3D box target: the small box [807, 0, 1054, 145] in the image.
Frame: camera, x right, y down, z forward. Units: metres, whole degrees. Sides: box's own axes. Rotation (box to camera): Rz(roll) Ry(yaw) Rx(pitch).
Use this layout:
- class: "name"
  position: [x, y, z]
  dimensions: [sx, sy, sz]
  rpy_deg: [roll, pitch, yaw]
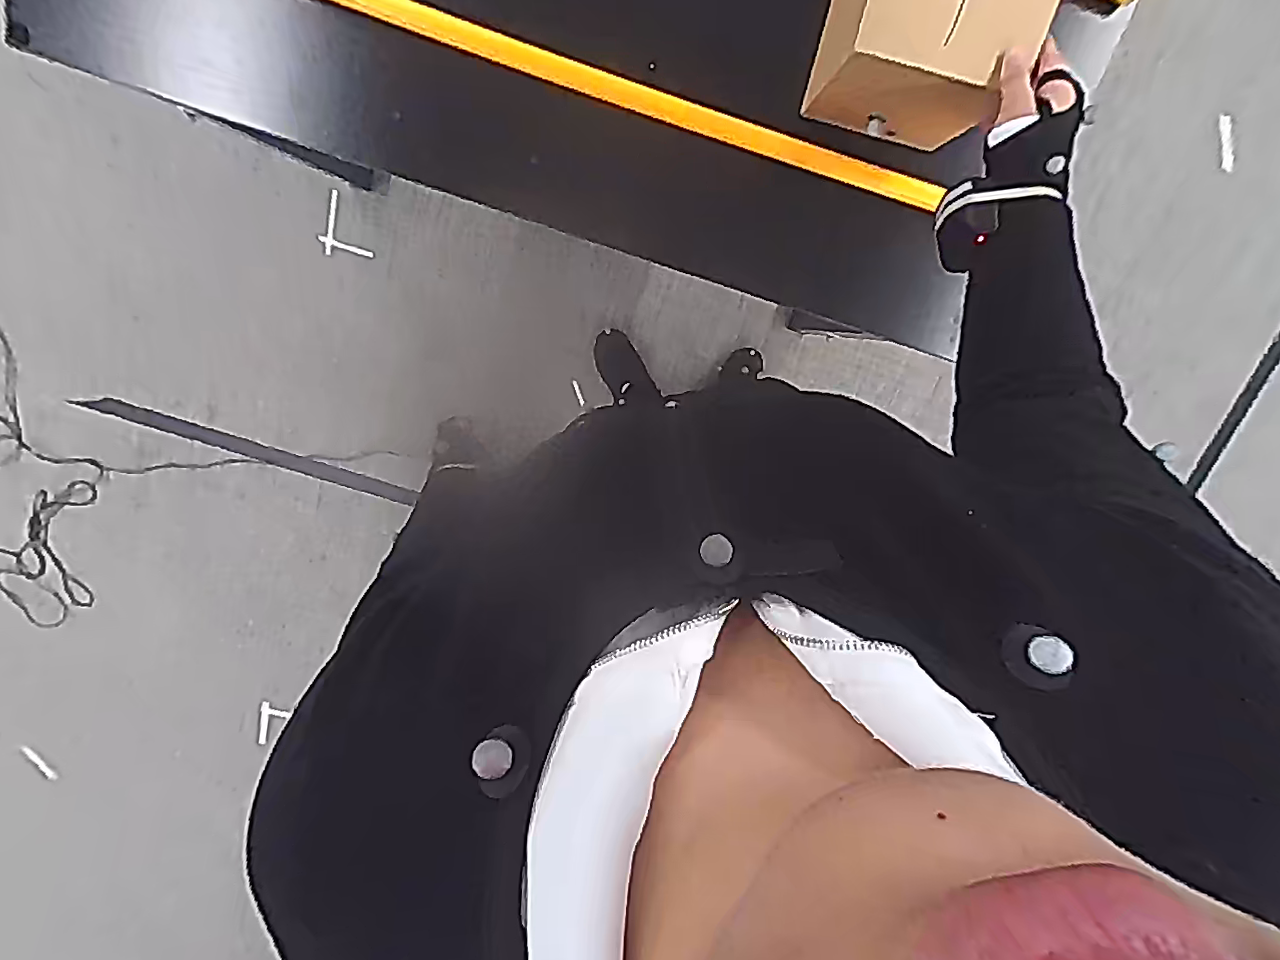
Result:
- class: "small box"
  position: [0.288, -0.476, 0.544]
  dimensions: [0.168, 0.176, 0.179]
  rpy_deg: [13, 106, -4]
